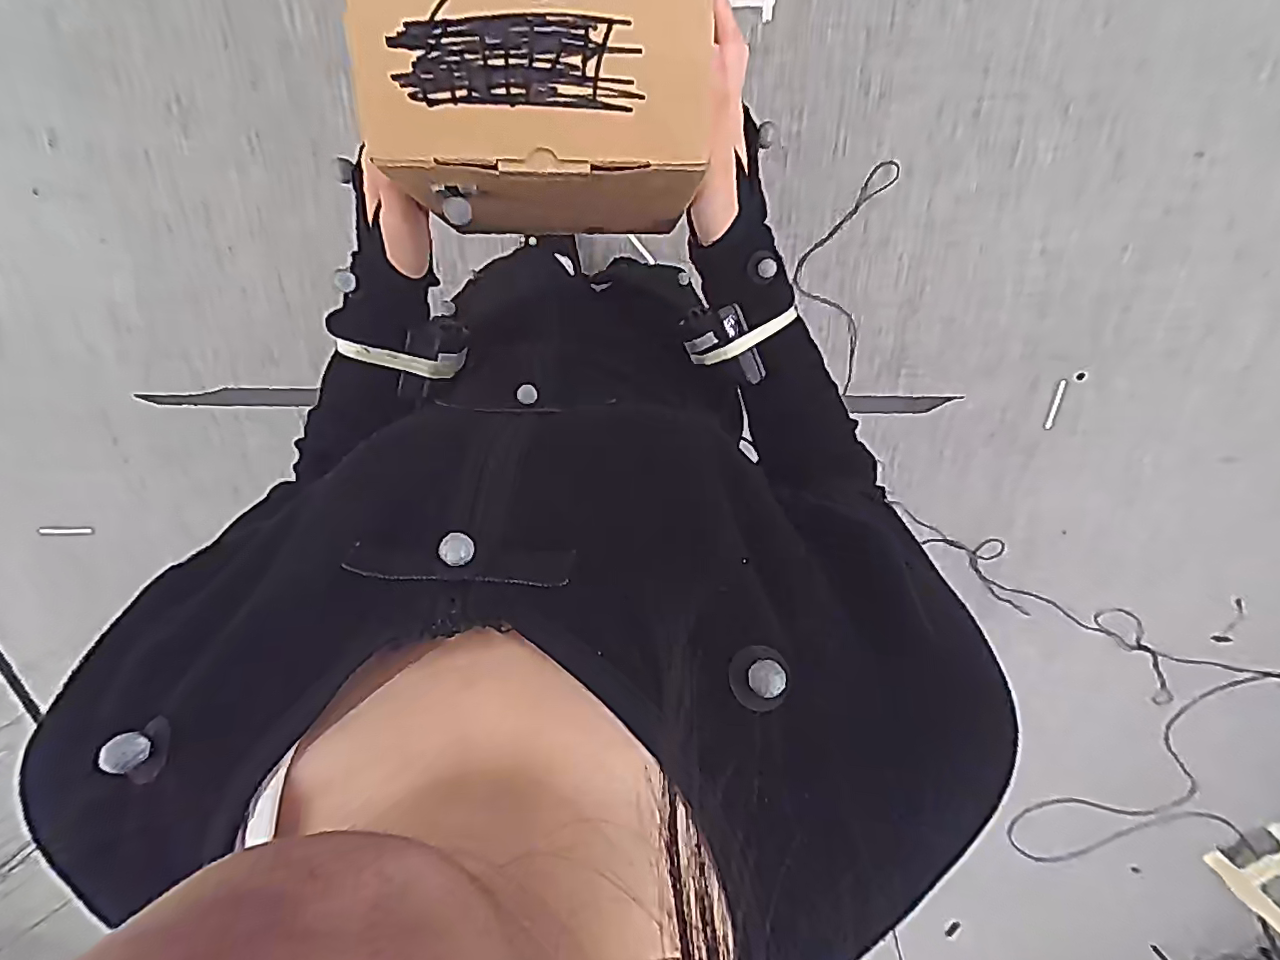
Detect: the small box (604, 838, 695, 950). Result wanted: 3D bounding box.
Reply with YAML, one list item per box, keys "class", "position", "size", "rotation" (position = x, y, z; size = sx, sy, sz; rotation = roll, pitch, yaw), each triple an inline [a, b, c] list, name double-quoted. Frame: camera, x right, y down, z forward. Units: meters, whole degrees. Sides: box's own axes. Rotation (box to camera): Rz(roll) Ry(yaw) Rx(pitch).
- class: "small box"
  position: [0.018, 0.847, 1.070]
  size: [0.168, 0.176, 0.179]
  rotation: [-3, 115, -1]

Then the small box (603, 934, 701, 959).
- class: "small box"
  position: [0.024, 0.918, 0.924]
  size: [0.179, 0.176, 0.168]
  rotation: [-4, 117, -1]
